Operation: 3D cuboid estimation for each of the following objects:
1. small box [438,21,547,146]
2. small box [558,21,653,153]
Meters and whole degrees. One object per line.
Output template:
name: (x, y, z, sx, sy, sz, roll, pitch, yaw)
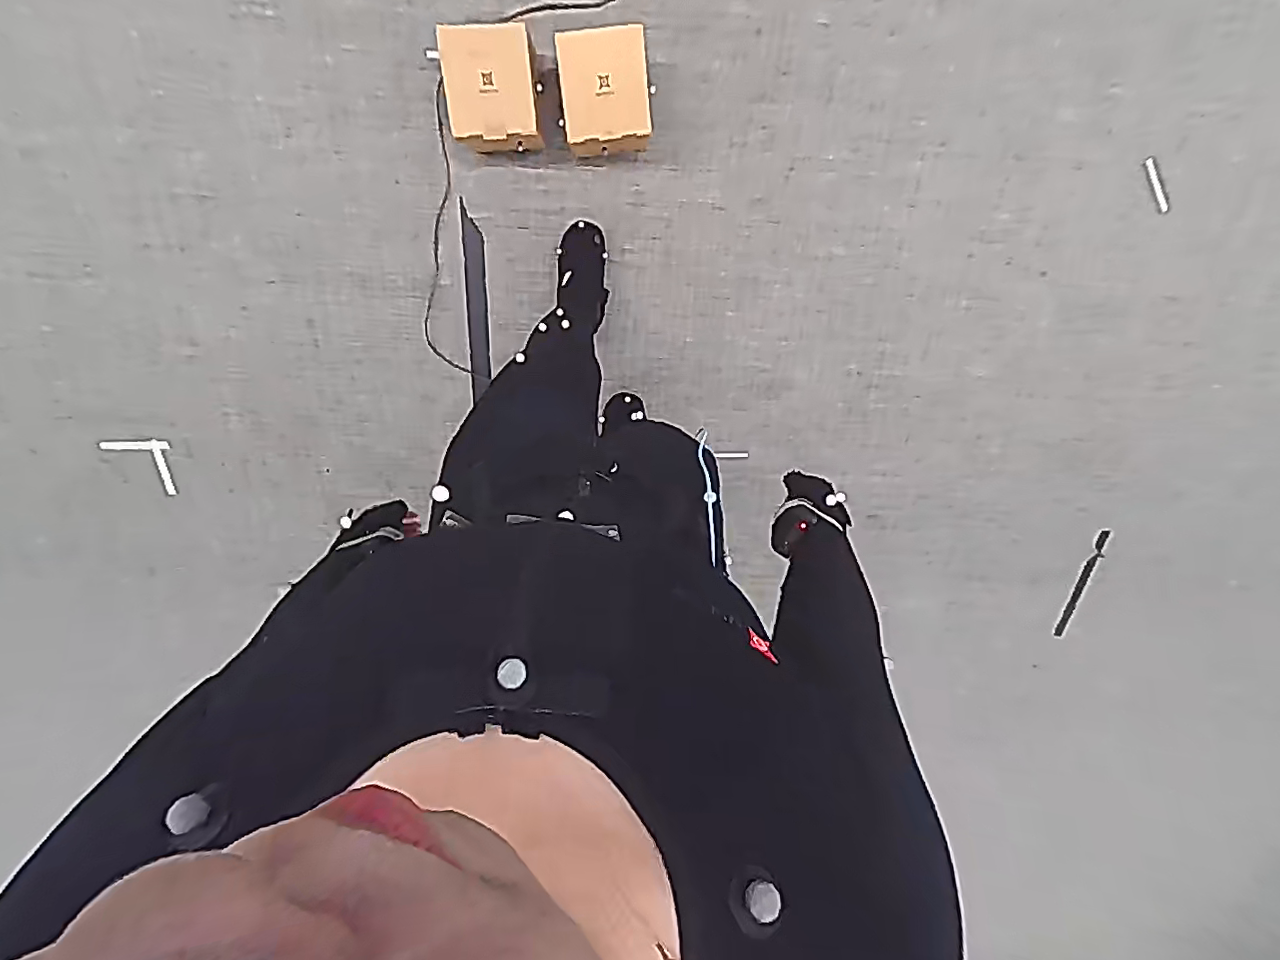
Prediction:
small box: (-0.284, -0.780, 1.083, 0.168, 0.176, 0.179, -3, 113, -1)
small box: (-0.067, -0.781, 1.091, 0.168, 0.176, 0.179, -6, 114, 0)
